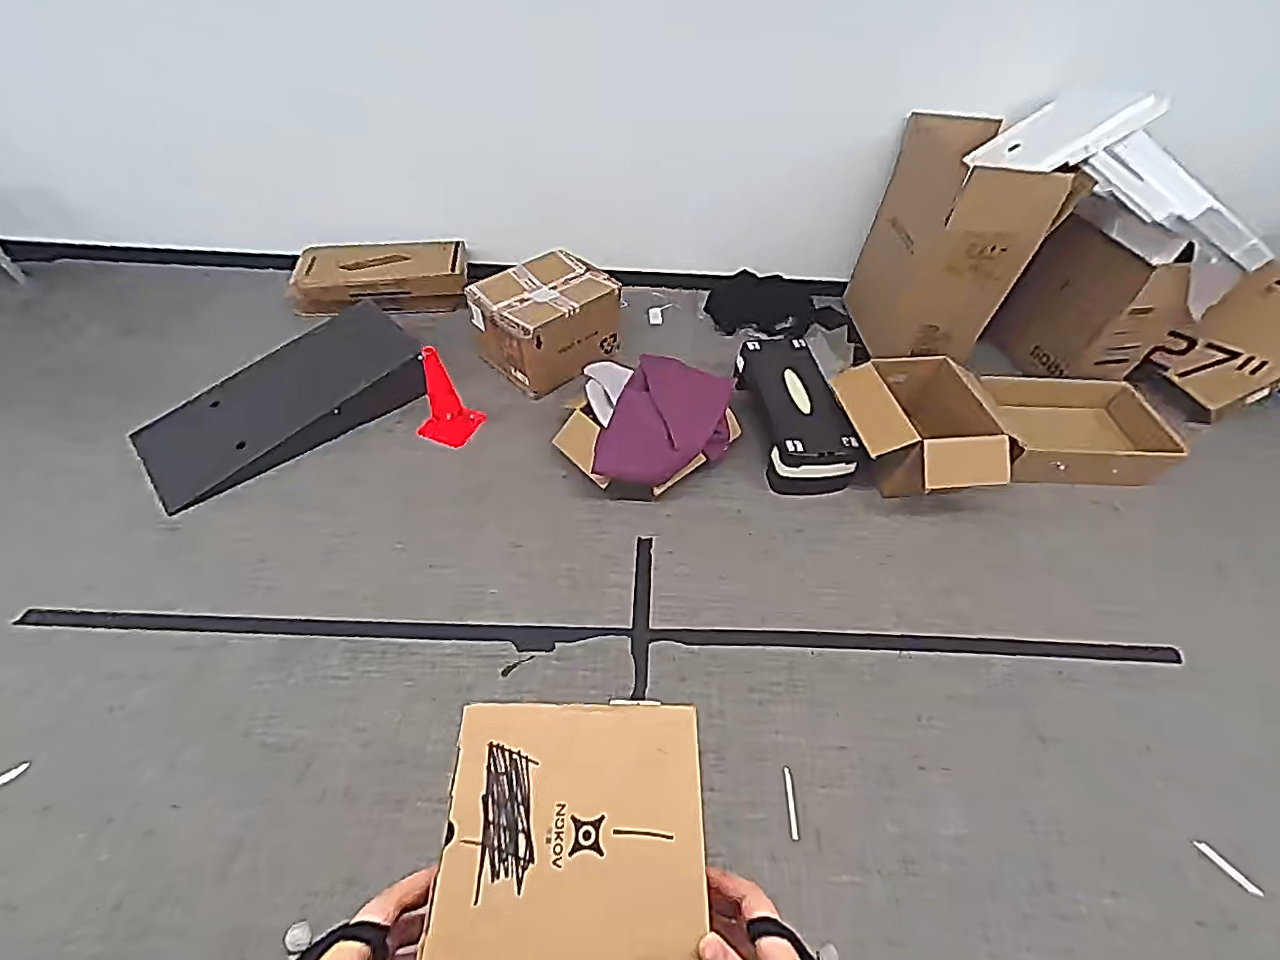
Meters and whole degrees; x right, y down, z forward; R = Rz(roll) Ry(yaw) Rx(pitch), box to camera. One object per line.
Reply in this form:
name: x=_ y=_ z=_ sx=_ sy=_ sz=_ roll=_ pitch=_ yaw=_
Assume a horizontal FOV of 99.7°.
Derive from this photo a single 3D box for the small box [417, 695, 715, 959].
small box: x=-0.046 y=0.276 z=0.418 sx=0.179 sy=0.176 sz=0.168 roll=2 pitch=53 yaw=-3
